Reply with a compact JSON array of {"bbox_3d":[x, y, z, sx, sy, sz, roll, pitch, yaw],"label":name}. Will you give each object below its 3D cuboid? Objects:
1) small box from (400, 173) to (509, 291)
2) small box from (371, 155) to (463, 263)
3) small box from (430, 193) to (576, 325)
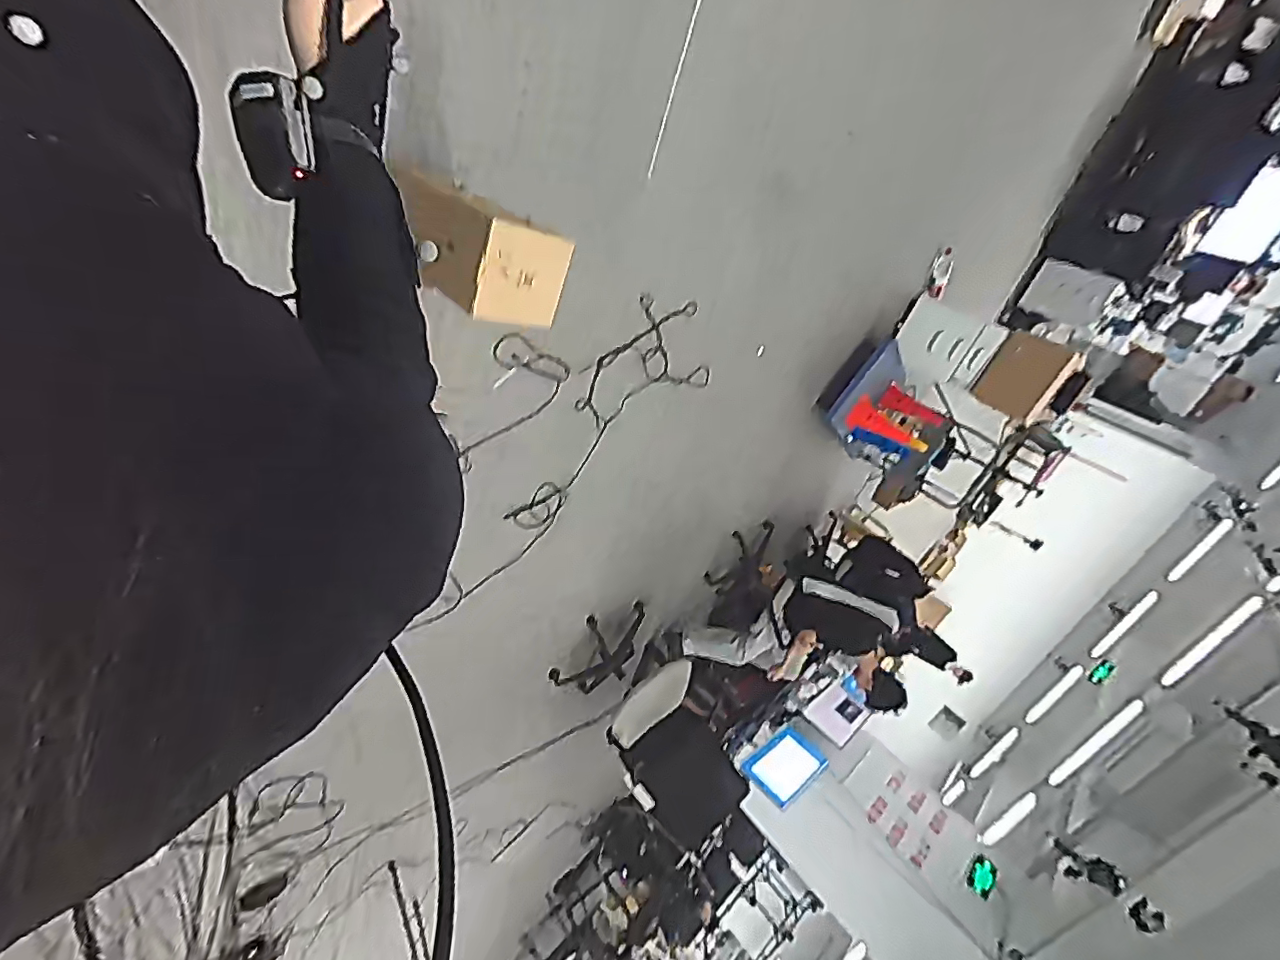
[{"bbox_3d":[-0.362,-0.485,1.084,0.168,0.176,0.179,-10,129,-46],"label":"small box"},{"bbox_3d":[-0.465,-0.572,1.177,0.168,0.176,0.179,-5,128,-47],"label":"small box"},{"bbox_3d":[-0.254,-0.402,0.991,0.179,0.176,0.168,-8,128,-47],"label":"small box"}]
